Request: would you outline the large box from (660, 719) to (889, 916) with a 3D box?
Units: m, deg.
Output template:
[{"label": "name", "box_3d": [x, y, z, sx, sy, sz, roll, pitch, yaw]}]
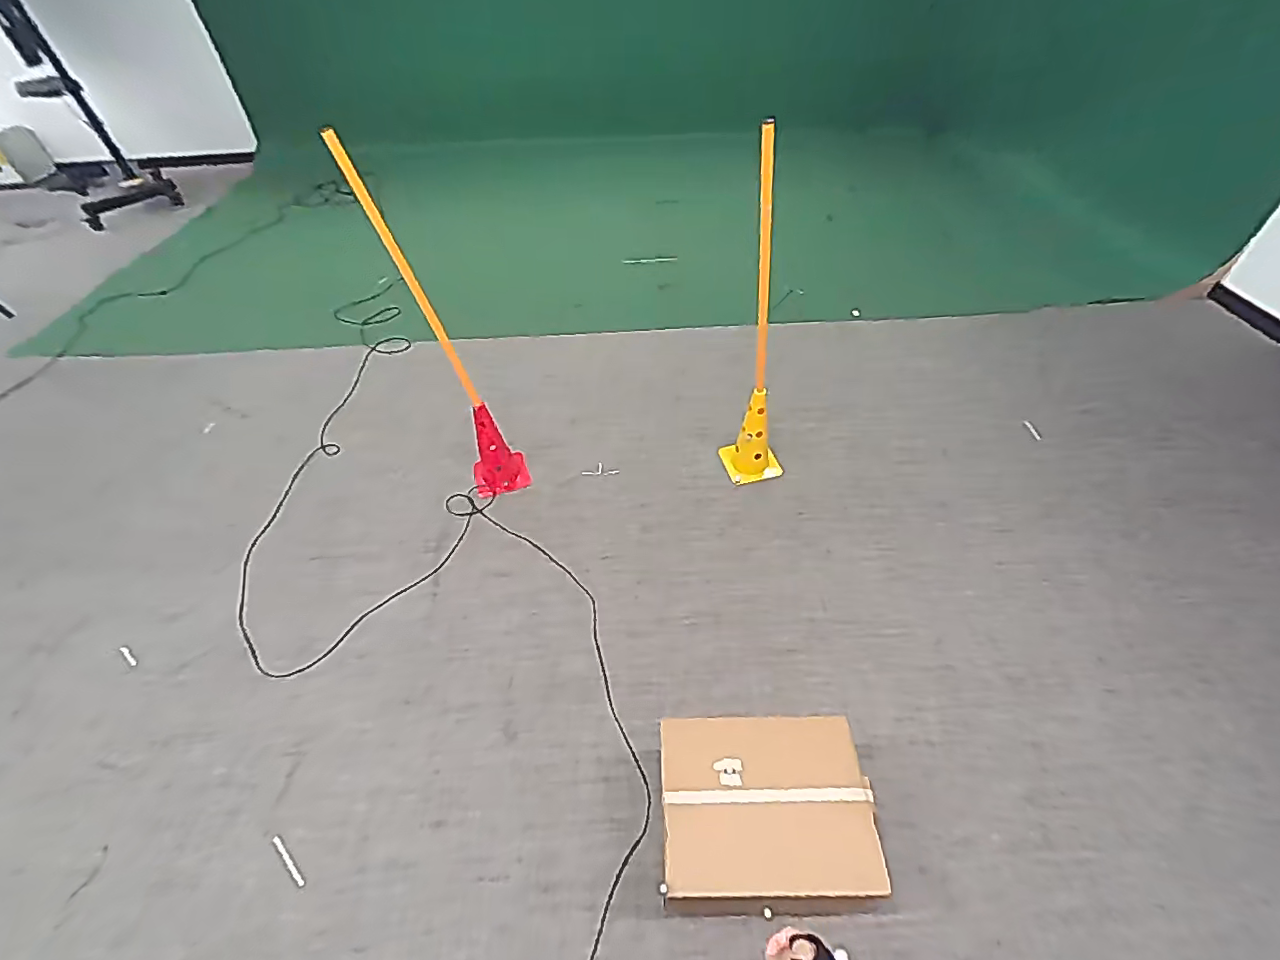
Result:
[{"label": "large box", "box_3d": [0.254, 0.737, 1.173, 0.408, 0.320, 0.320, -2, 46, 2]}]
